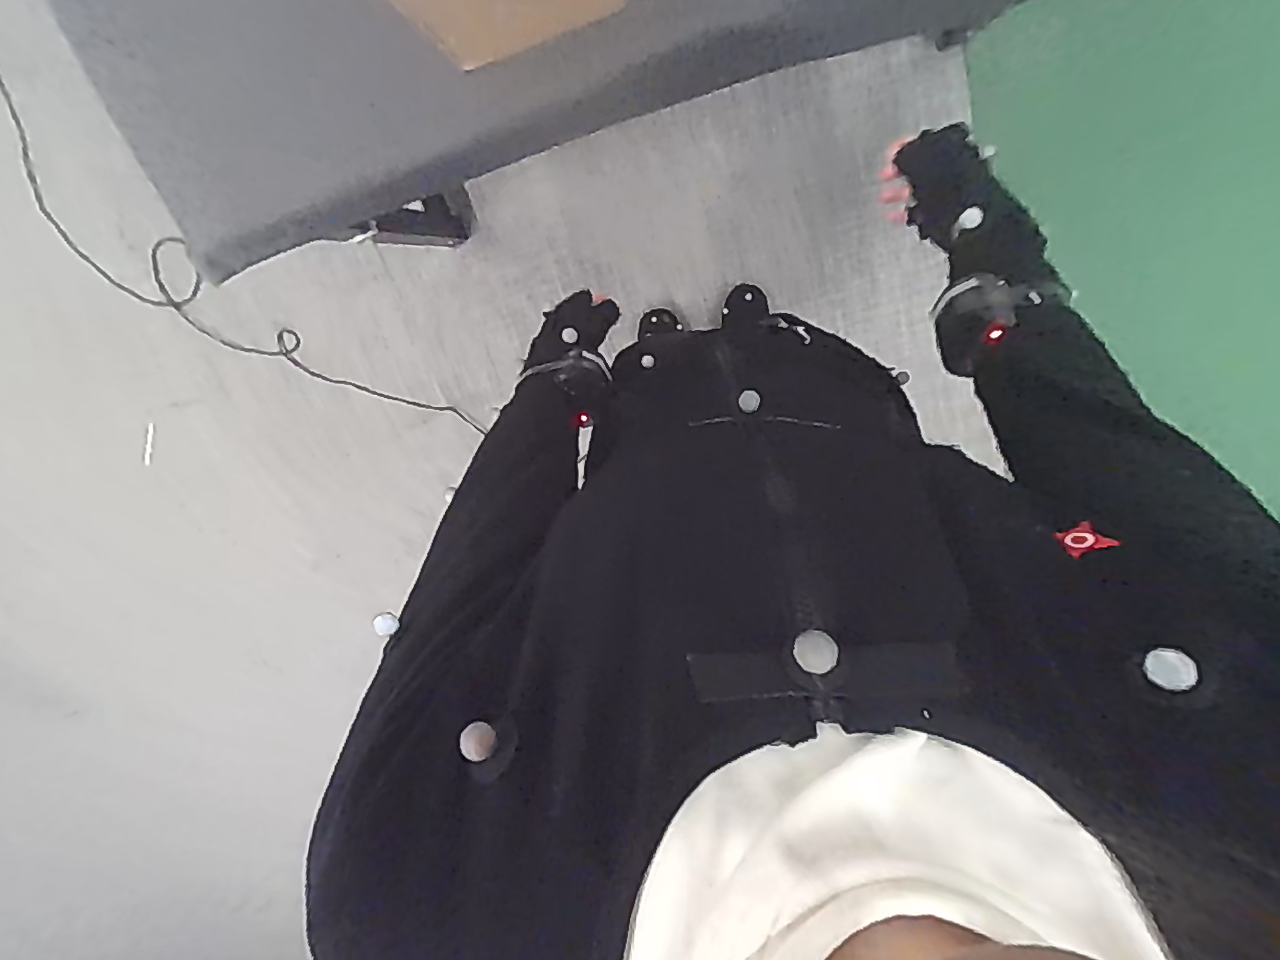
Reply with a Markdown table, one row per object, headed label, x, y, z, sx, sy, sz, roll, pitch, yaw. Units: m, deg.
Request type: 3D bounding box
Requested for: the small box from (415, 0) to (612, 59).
| label | x | y | z | sx | sy | sz | roll | pitch | yaw |
| --- | --- | --- | --- | --- | --- | --- | --- | --- | --- |
| small box | -0.123 | -0.484 | 0.433 | 0.179 | 0.176 | 0.168 | -14 | 109 | 9 |
